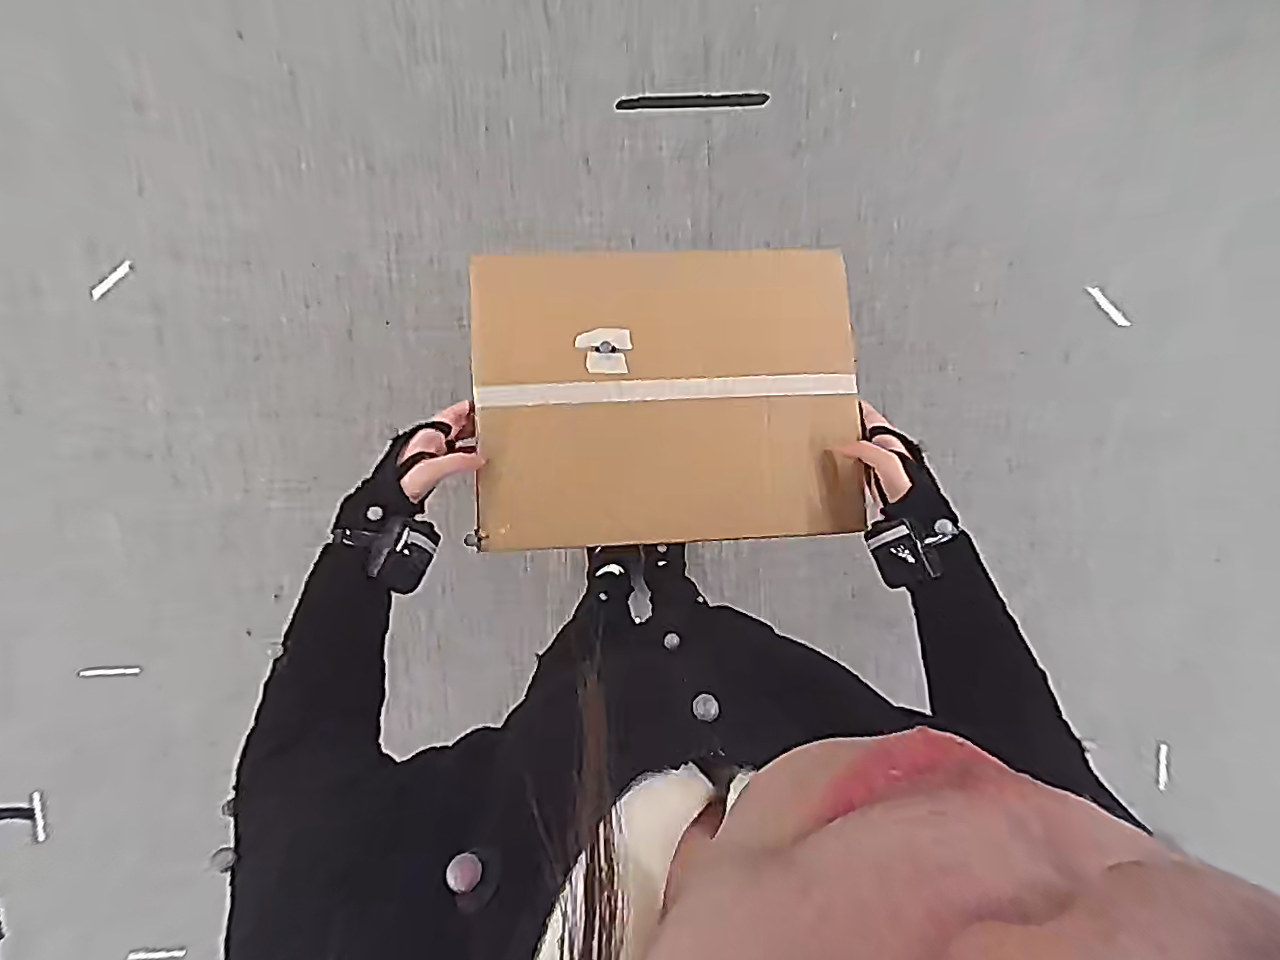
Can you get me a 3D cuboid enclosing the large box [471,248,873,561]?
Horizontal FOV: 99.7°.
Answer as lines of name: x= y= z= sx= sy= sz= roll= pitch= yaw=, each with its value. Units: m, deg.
large box: x=0.027 y=-0.073 z=0.700 sx=0.408 sy=0.320 sz=0.320 roll=-3 pitch=84 yaw=-3
